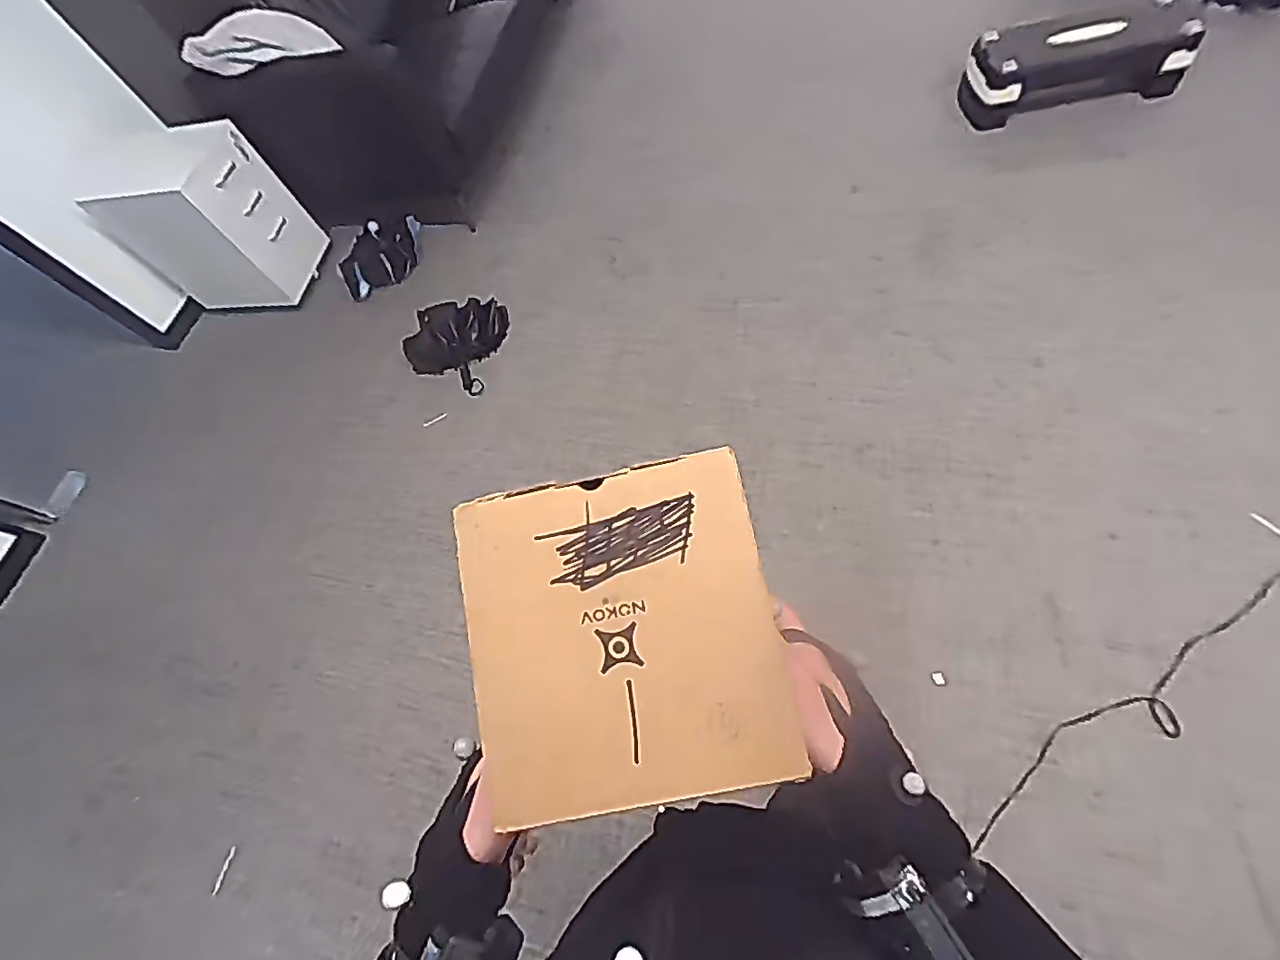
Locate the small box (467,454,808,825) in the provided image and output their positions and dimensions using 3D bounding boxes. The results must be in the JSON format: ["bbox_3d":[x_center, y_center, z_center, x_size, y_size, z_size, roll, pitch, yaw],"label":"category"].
[{"bbox_3d":[-0.002,0.099,0.373,0.168,0.176,0.179,-12,77,3],"label":"small box"}]
